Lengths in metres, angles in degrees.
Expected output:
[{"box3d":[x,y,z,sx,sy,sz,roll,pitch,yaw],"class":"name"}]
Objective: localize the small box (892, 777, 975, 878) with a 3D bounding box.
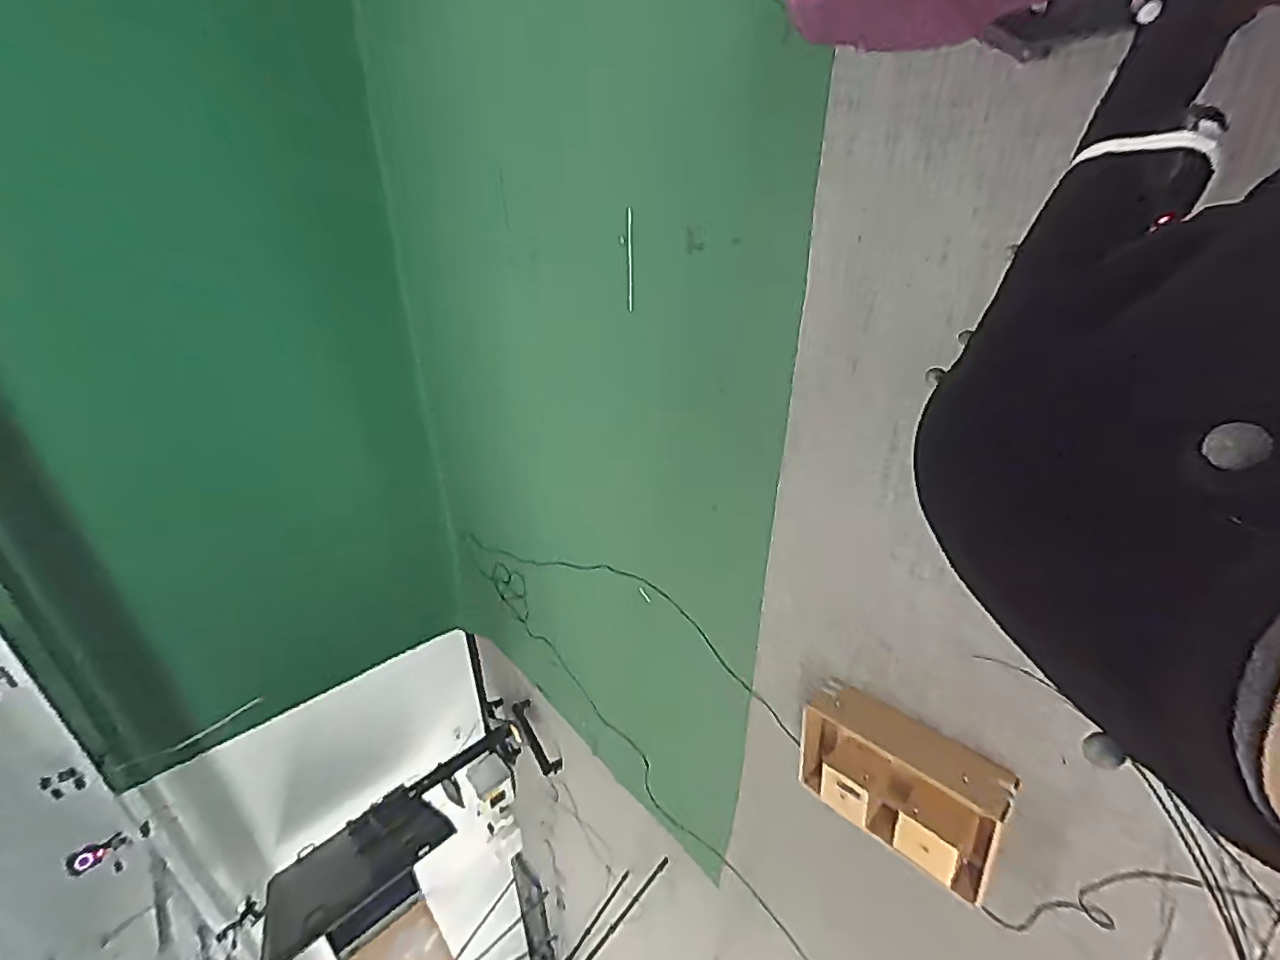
[{"box3d":[0.938,1.097,1.724,0.179,0.176,0.168,21,122,45],"class":"small box"}]
